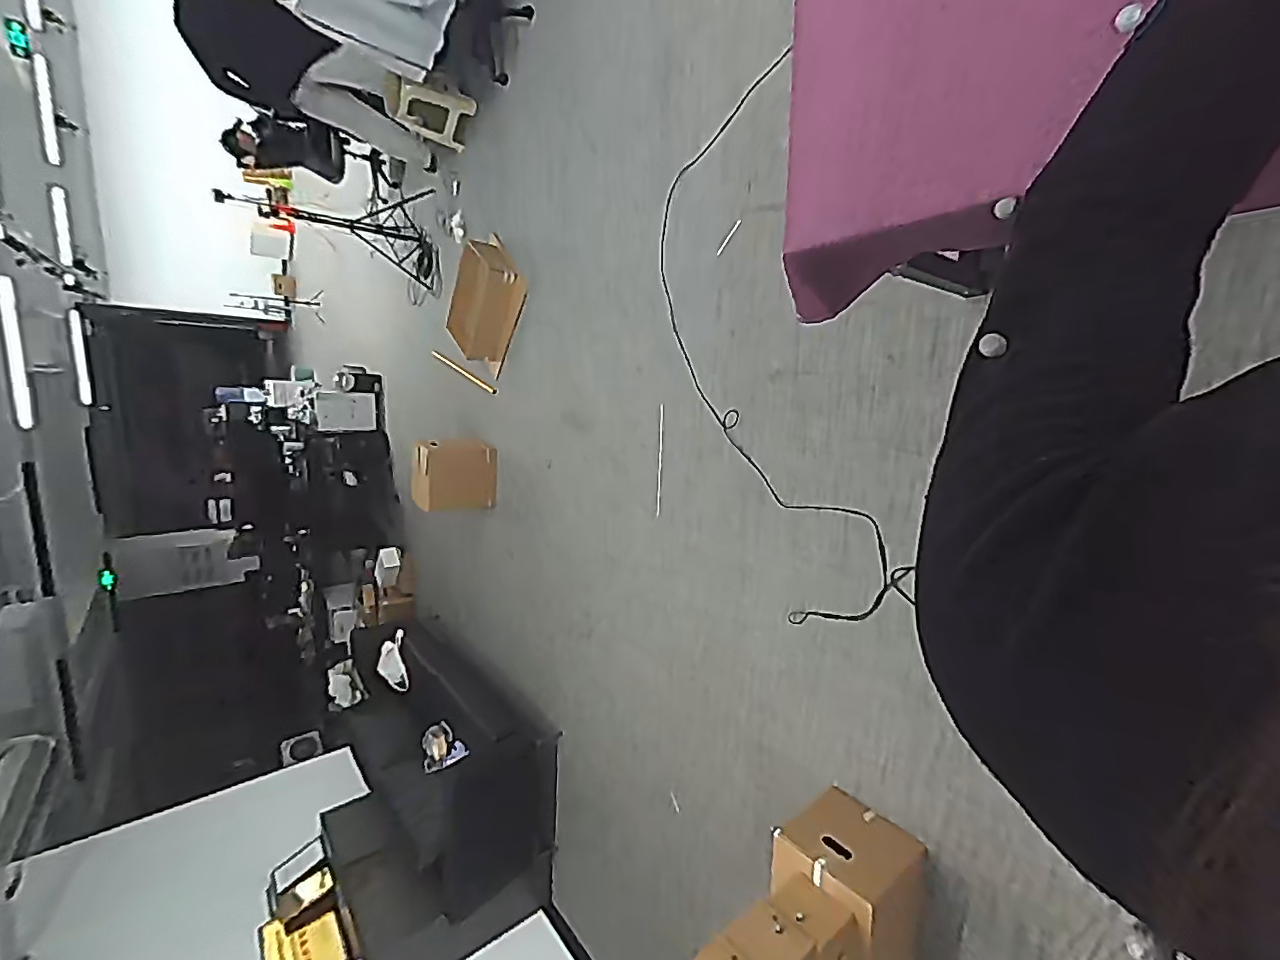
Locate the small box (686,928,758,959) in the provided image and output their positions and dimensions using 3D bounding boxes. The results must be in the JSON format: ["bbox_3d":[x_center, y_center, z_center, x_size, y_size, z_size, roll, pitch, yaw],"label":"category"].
[{"bbox_3d":[0.197,1.217,1.255,0.168,0.176,0.179,15,105,48],"label":"small box"}]

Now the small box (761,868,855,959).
[{"bbox_3d":[0.452,1.201,1.463,0.179,0.176,0.168,10,103,48],"label":"small box"}]
